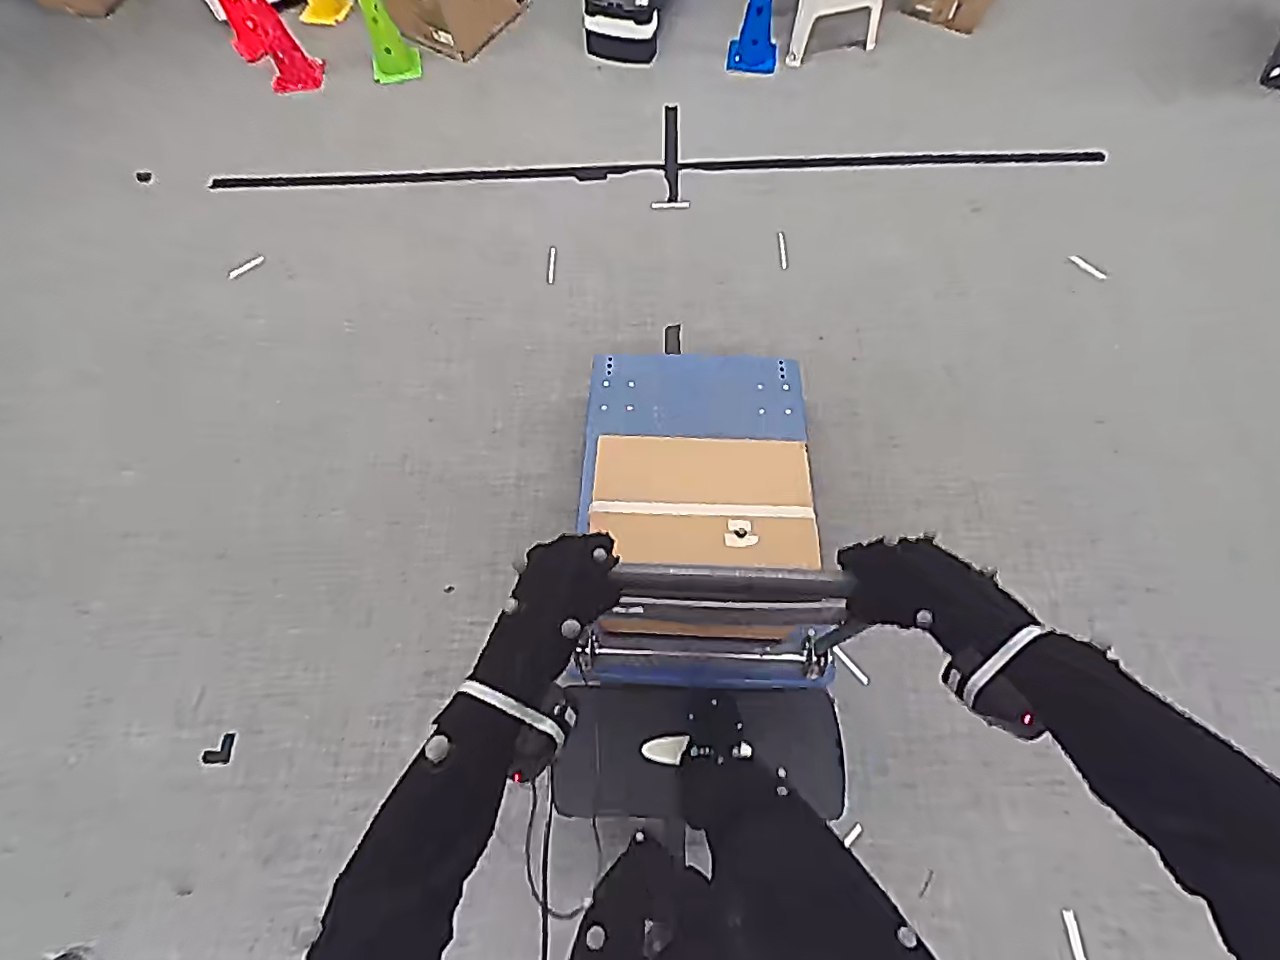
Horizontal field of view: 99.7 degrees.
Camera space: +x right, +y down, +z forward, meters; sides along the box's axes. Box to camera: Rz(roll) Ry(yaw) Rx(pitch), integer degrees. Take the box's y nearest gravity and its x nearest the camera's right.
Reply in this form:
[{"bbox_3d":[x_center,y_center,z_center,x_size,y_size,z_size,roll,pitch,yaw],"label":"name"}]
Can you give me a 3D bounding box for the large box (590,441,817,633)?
[{"bbox_3d":[0.111,0.131,1.134,0.408,0.320,0.320,2,62,1],"label":"large box"}]
